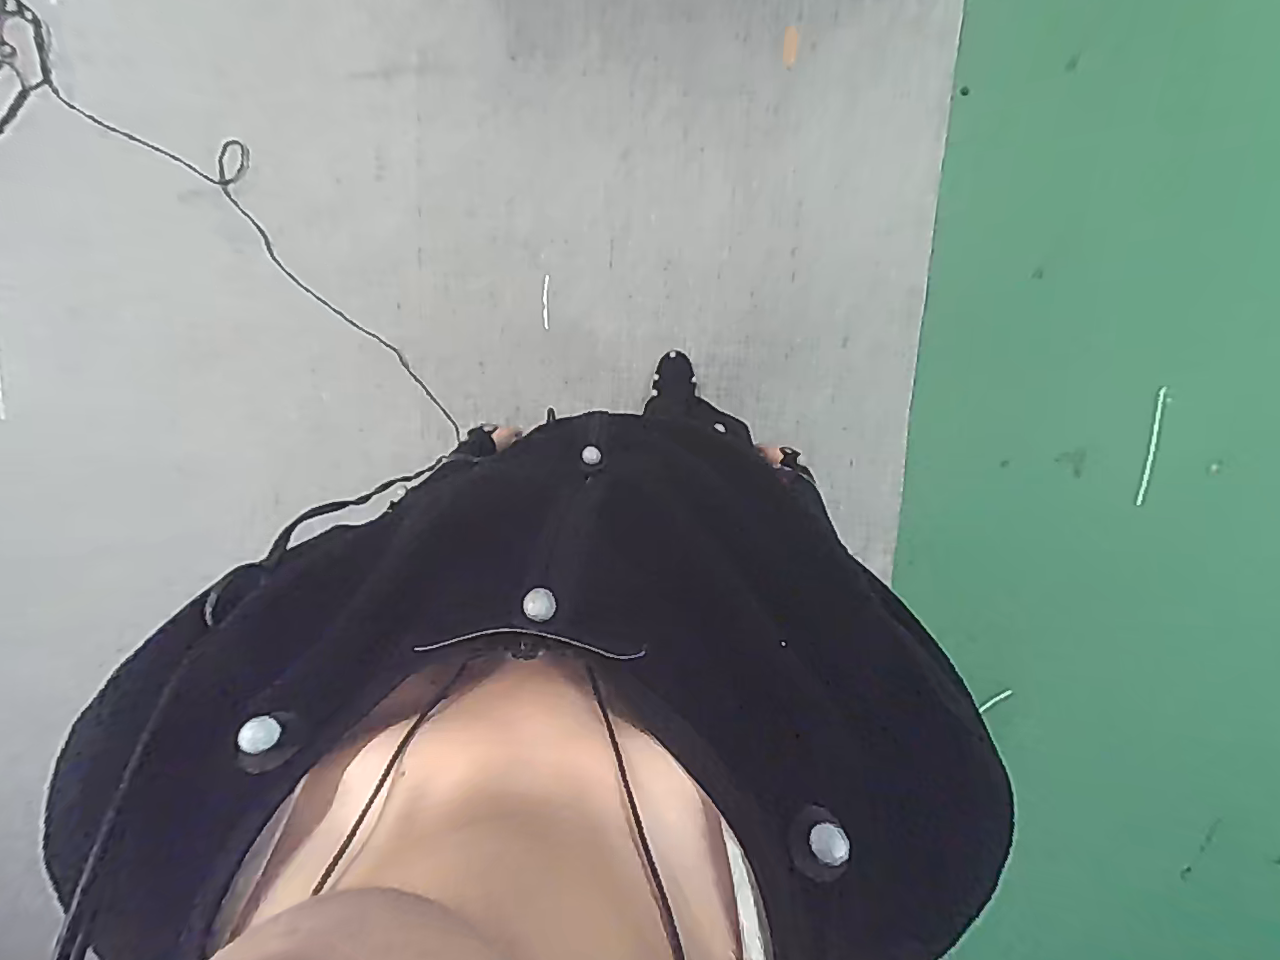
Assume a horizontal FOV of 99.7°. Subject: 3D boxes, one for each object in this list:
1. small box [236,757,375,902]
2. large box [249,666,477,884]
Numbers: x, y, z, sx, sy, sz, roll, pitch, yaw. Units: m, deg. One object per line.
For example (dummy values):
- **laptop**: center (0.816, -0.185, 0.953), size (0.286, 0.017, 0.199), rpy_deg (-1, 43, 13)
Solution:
- **small box**: center (-0.744, 0.781, 1.225), size (0.168, 0.176, 0.179), rpy_deg (39, 95, -3)
- **large box**: center (-0.726, 0.775, 1.471), size (0.408, 0.320, 0.320), rpy_deg (26, 99, -3)
